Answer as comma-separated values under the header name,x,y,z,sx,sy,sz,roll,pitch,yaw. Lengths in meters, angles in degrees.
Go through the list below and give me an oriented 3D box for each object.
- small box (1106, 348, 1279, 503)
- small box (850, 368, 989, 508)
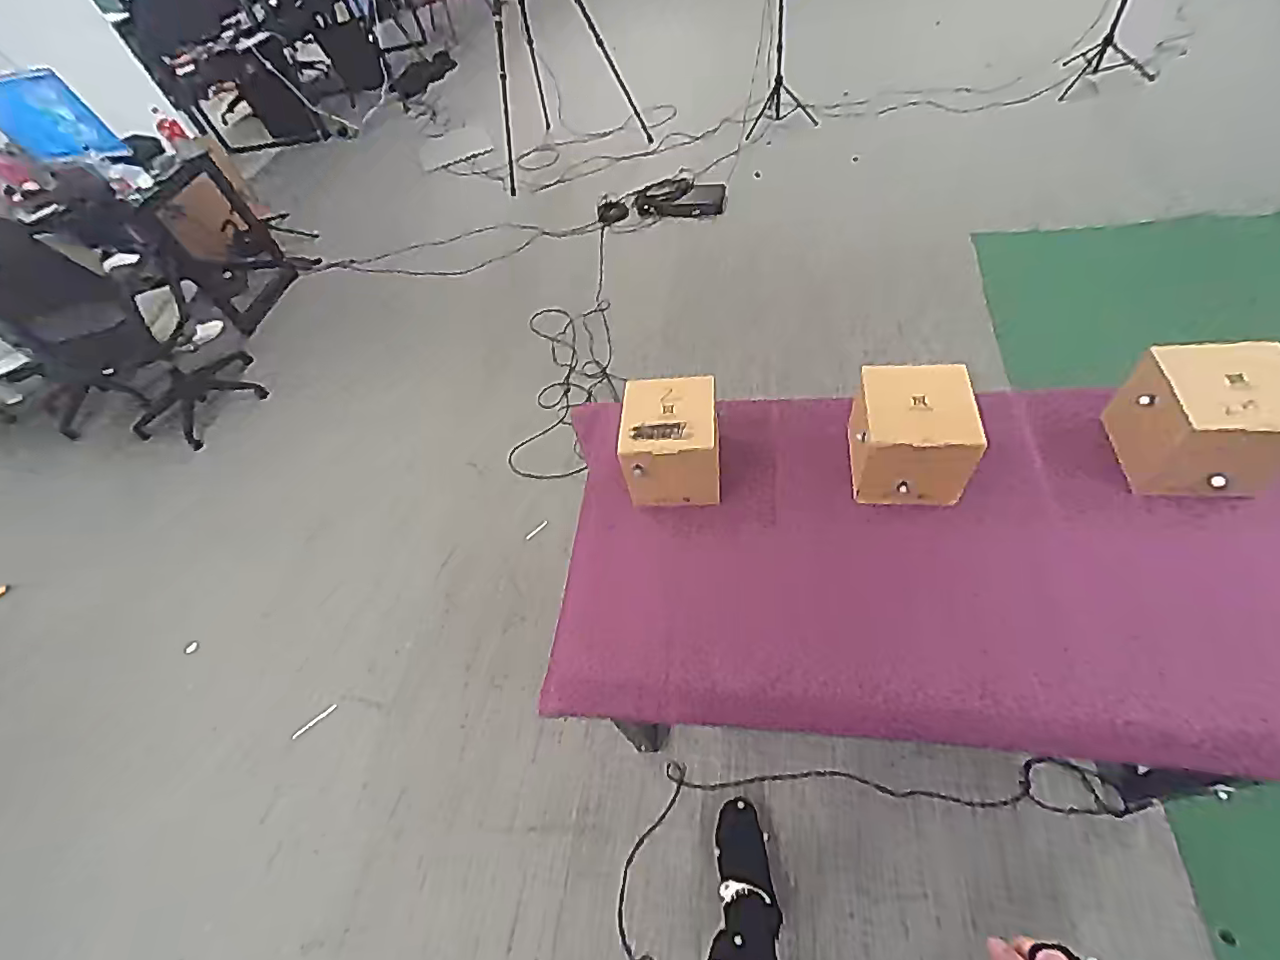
name,x,y,z,sx,sy,sz,roll,pitch,yaw
small box,0.886,-0.084,0.850,0.168,0.176,0.179,1,55,15
small box,0.465,-0.072,0.932,0.168,0.176,0.179,2,56,12
